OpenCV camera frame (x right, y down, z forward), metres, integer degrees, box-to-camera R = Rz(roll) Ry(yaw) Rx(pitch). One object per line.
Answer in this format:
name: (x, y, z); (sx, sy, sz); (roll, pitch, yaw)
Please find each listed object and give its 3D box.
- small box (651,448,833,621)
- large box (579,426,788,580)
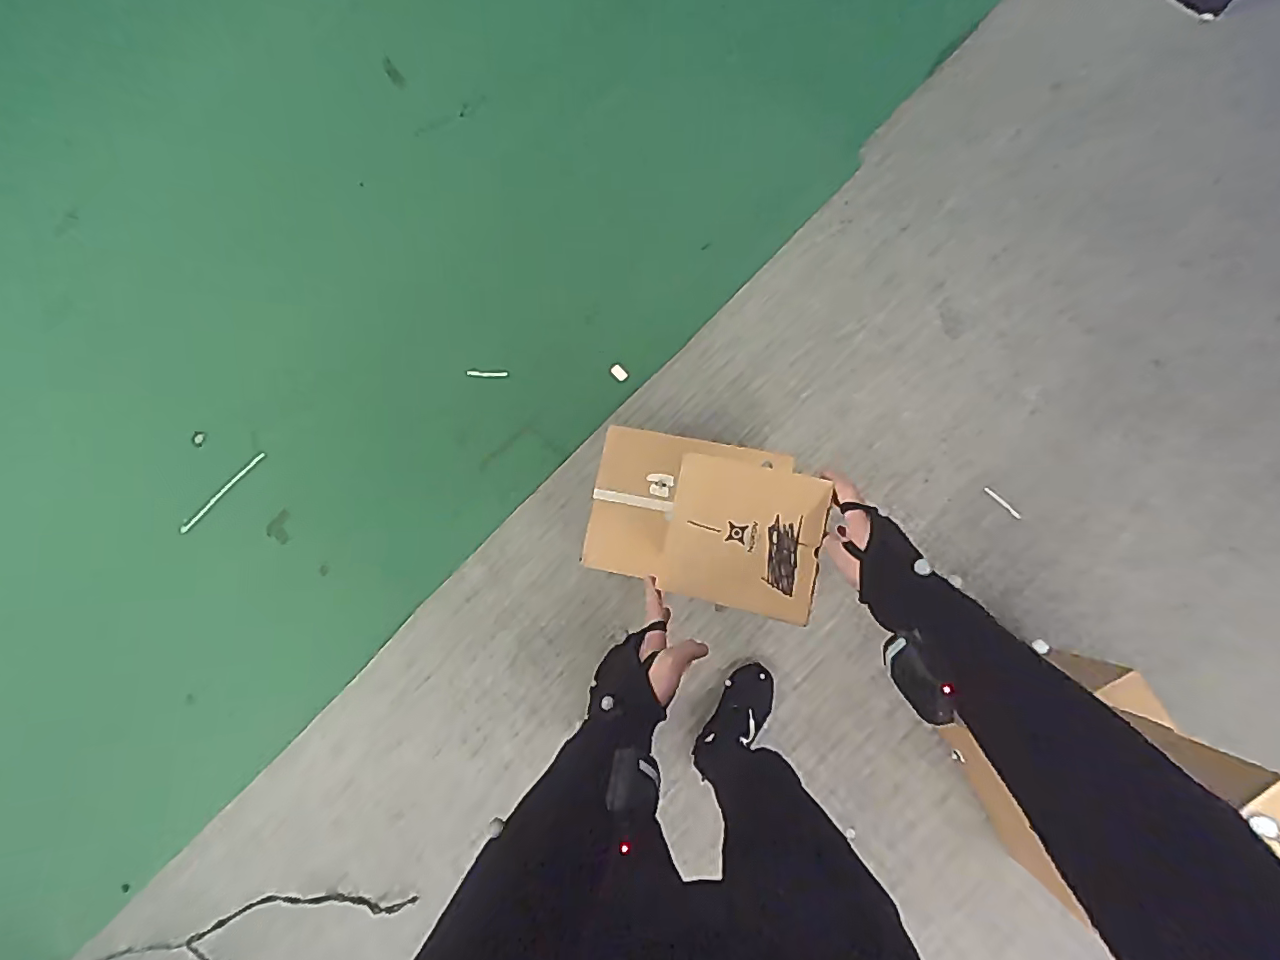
small box: (0.125, 0.066, 0.688); (0.179, 0.176, 0.168); (13, 86, 10)
large box: (0.107, 0.083, 1.277); (0.408, 0.320, 0.320); (10, 82, 7)
